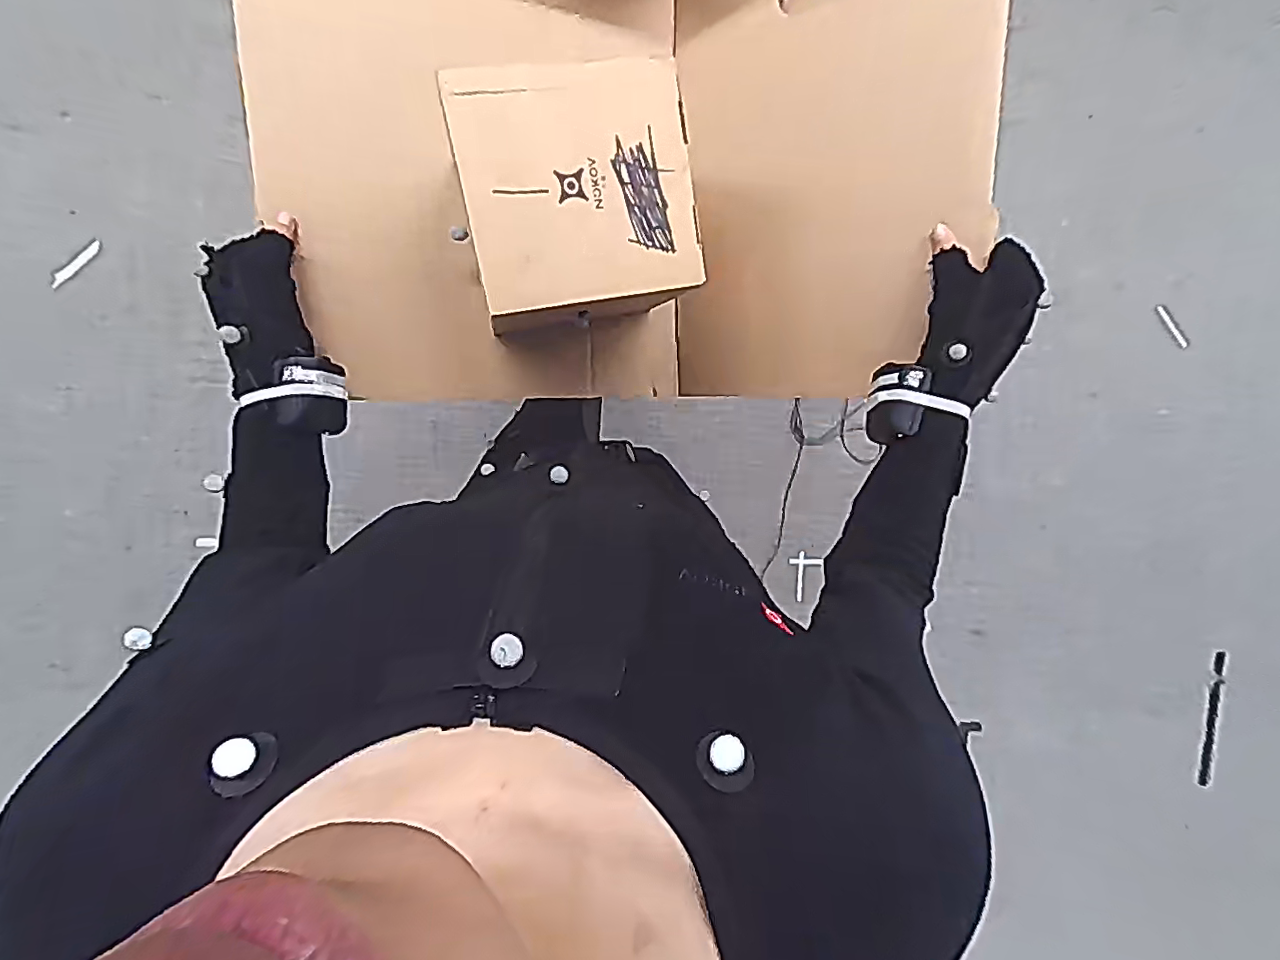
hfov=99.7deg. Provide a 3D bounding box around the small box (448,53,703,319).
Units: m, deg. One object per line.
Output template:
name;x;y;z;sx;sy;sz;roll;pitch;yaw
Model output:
small box;-0.061;-0.247;0.490;0.179;0.176;0.168;-12;103;-11
